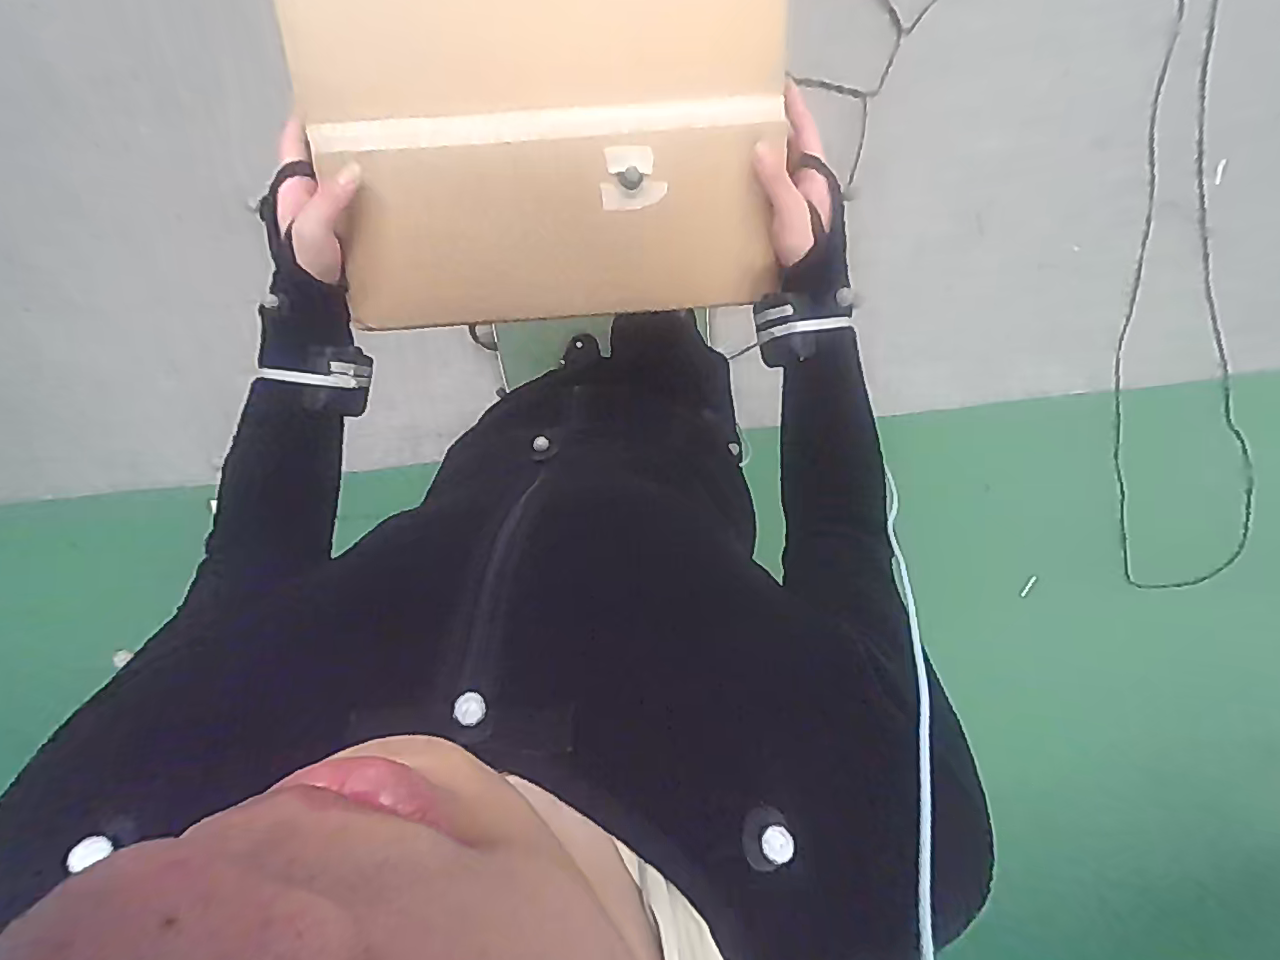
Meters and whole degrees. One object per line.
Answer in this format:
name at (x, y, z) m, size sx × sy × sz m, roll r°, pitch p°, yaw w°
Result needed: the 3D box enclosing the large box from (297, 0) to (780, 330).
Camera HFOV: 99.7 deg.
large box at (-0.084, -0.351, 0.617) m, size 0.408 × 0.320 × 0.320 m, roll -5°, pitch 109°, yaw -3°
